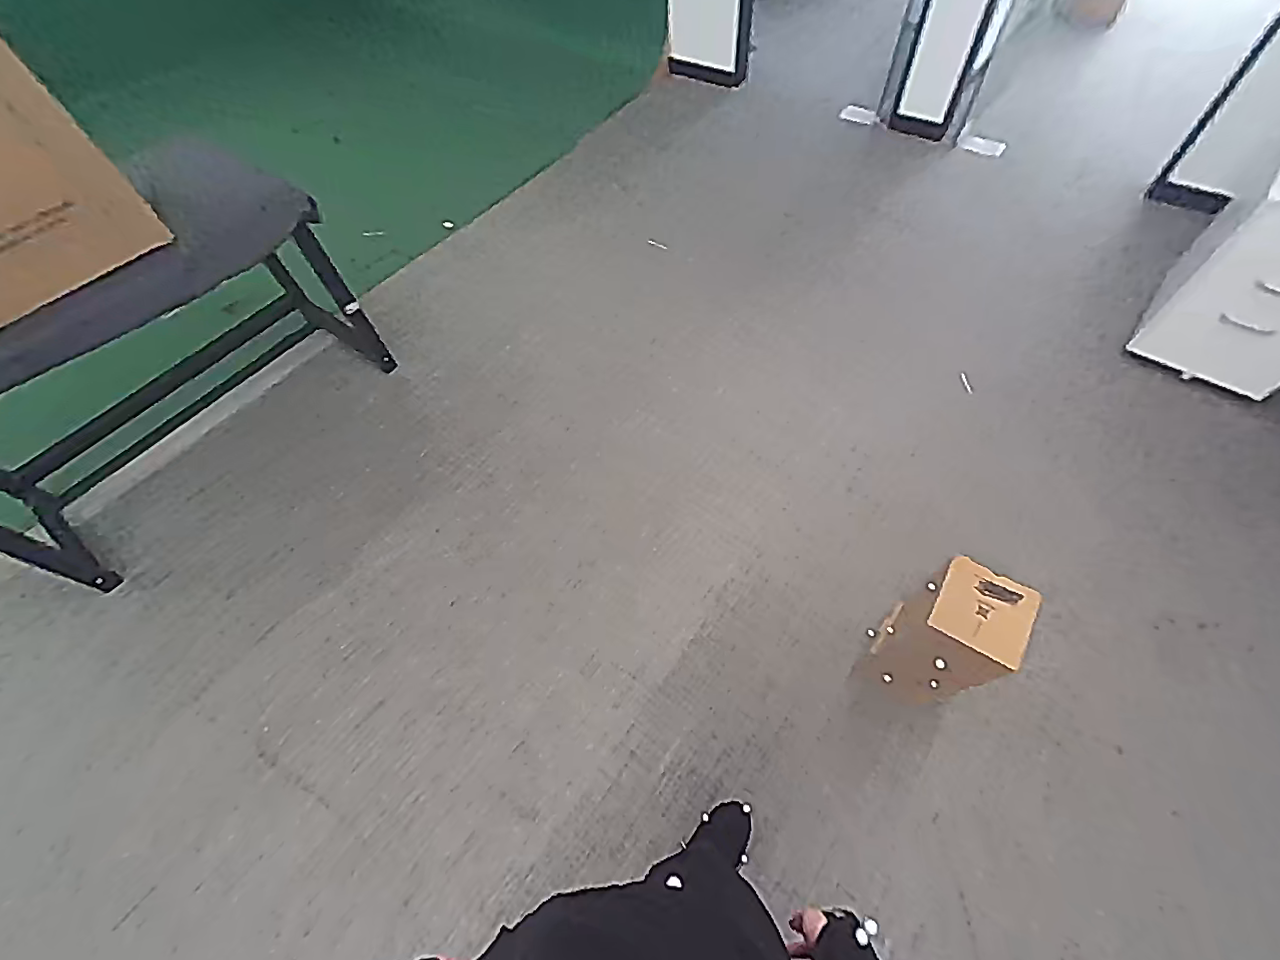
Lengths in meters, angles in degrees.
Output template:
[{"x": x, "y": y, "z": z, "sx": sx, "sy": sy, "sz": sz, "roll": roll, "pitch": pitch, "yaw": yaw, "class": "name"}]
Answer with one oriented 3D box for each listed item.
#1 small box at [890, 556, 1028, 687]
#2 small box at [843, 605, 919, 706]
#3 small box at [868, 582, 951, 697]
[{"x": 0.647, "y": 0.296, "z": 1.115, "sx": 0.168, "sy": 0.176, "sz": 0.179, "roll": 31, "pitch": 64, "yaw": 20, "class": "small box"}, {"x": 0.662, "y": 0.466, "z": 1.419, "sx": 0.179, "sy": 0.176, "sz": 0.168, "roll": 32, "pitch": 63, "yaw": 19, "class": "small box"}, {"x": 0.658, "y": 0.378, "z": 1.260, "sx": 0.168, "sy": 0.176, "sz": 0.179, "roll": 33, "pitch": 64, "yaw": 18, "class": "small box"}]
